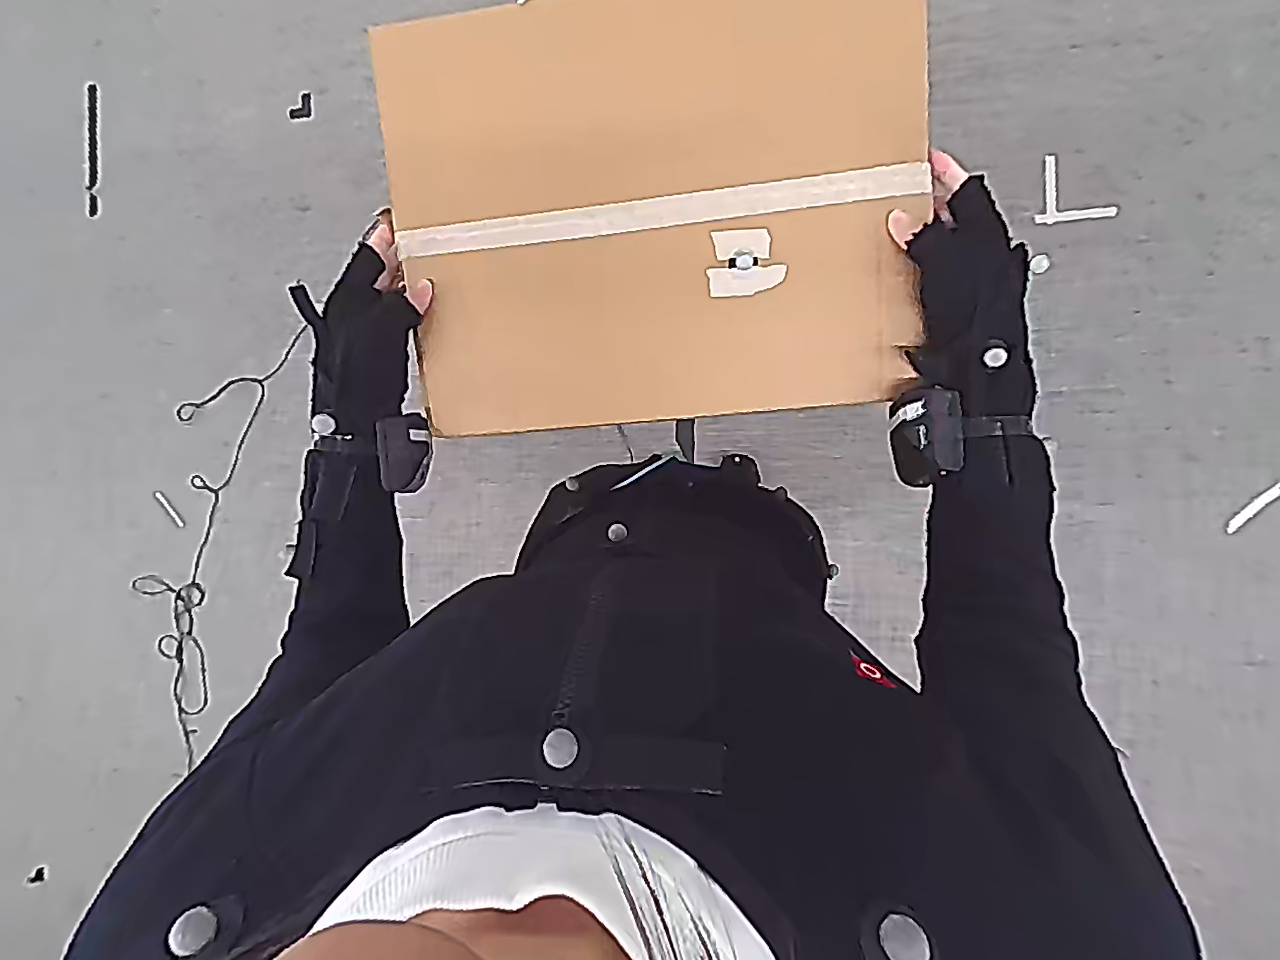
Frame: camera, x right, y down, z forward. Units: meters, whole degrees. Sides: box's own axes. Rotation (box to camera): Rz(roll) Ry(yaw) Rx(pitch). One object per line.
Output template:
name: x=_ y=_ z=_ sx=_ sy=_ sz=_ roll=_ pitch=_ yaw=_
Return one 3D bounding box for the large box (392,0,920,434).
large box: x=0.024 y=-0.229 z=0.576 sx=0.408 sy=0.320 sz=0.320 roll=-4 pitch=99 yaw=6
